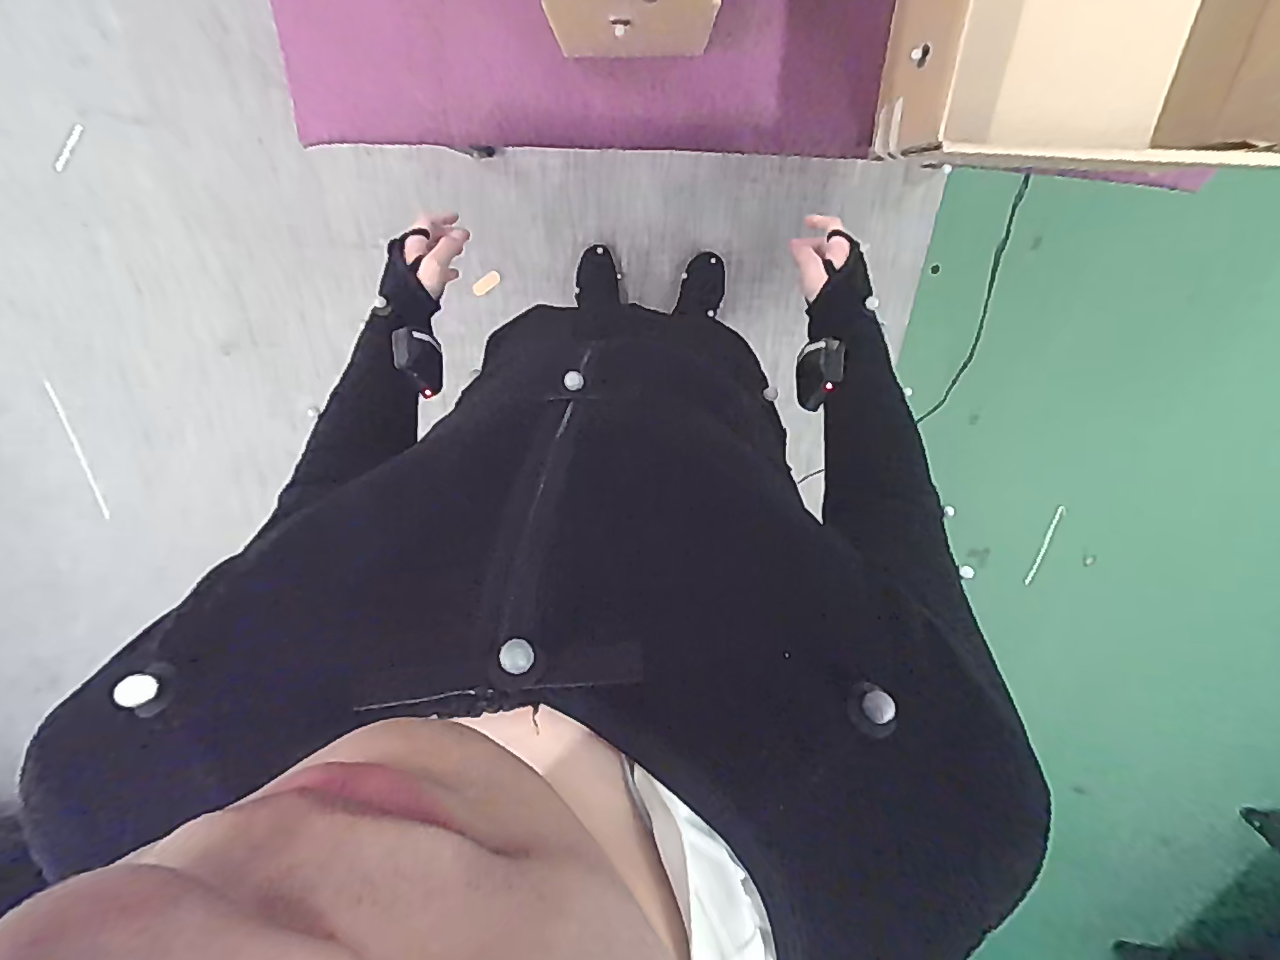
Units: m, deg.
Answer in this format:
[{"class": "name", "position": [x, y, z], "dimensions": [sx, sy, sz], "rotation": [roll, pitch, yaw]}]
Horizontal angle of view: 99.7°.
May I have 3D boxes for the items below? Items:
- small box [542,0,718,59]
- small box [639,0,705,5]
[{"class": "small box", "position": [-0.010, -0.567, 0.570], "dimensions": [0.179, 0.176, 0.168], "rotation": [-1, 114, -1]}, {"class": "small box", "position": [-0.010, -0.504, 0.419], "dimensions": [0.168, 0.176, 0.179], "rotation": [0, 115, -1]}]
